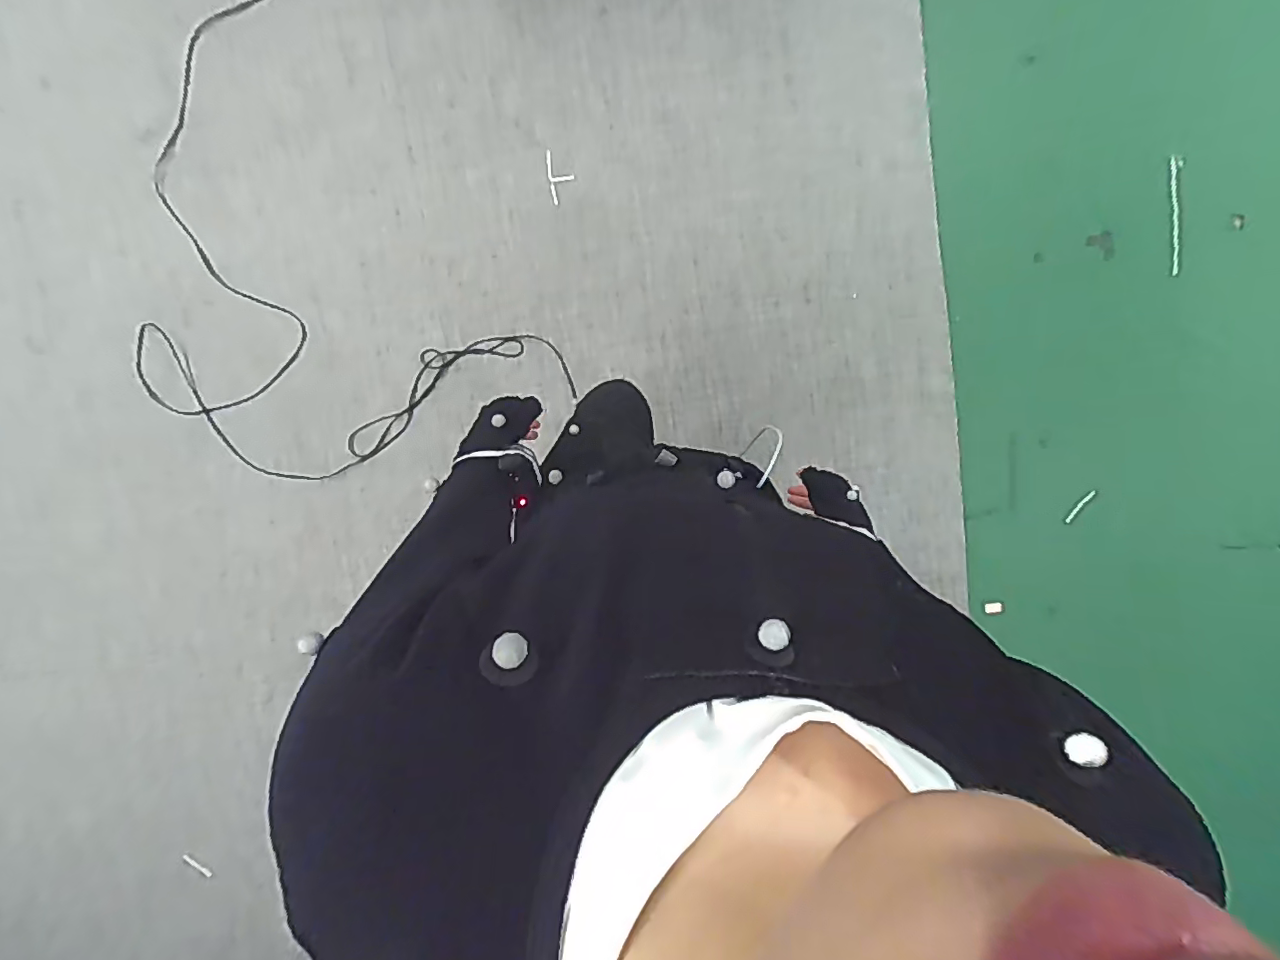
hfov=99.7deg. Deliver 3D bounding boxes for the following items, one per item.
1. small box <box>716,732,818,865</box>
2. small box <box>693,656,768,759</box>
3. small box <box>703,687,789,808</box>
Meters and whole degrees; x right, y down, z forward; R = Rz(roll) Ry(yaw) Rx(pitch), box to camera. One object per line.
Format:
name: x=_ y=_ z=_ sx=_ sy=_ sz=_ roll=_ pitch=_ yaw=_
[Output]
small box: x=0.256 y=0.633 z=1.082 sx=0.168 sy=0.176 sz=0.179 roll=-12 pitch=97 yaw=0
small box: x=0.238 y=0.586 z=1.405 sx=0.168 sy=0.176 sz=0.179 roll=-9 pitch=97 yaw=-2
small box: x=0.246 y=0.607 z=1.244 sx=0.168 sy=0.176 sz=0.179 roll=-10 pitch=97 yaw=-1
